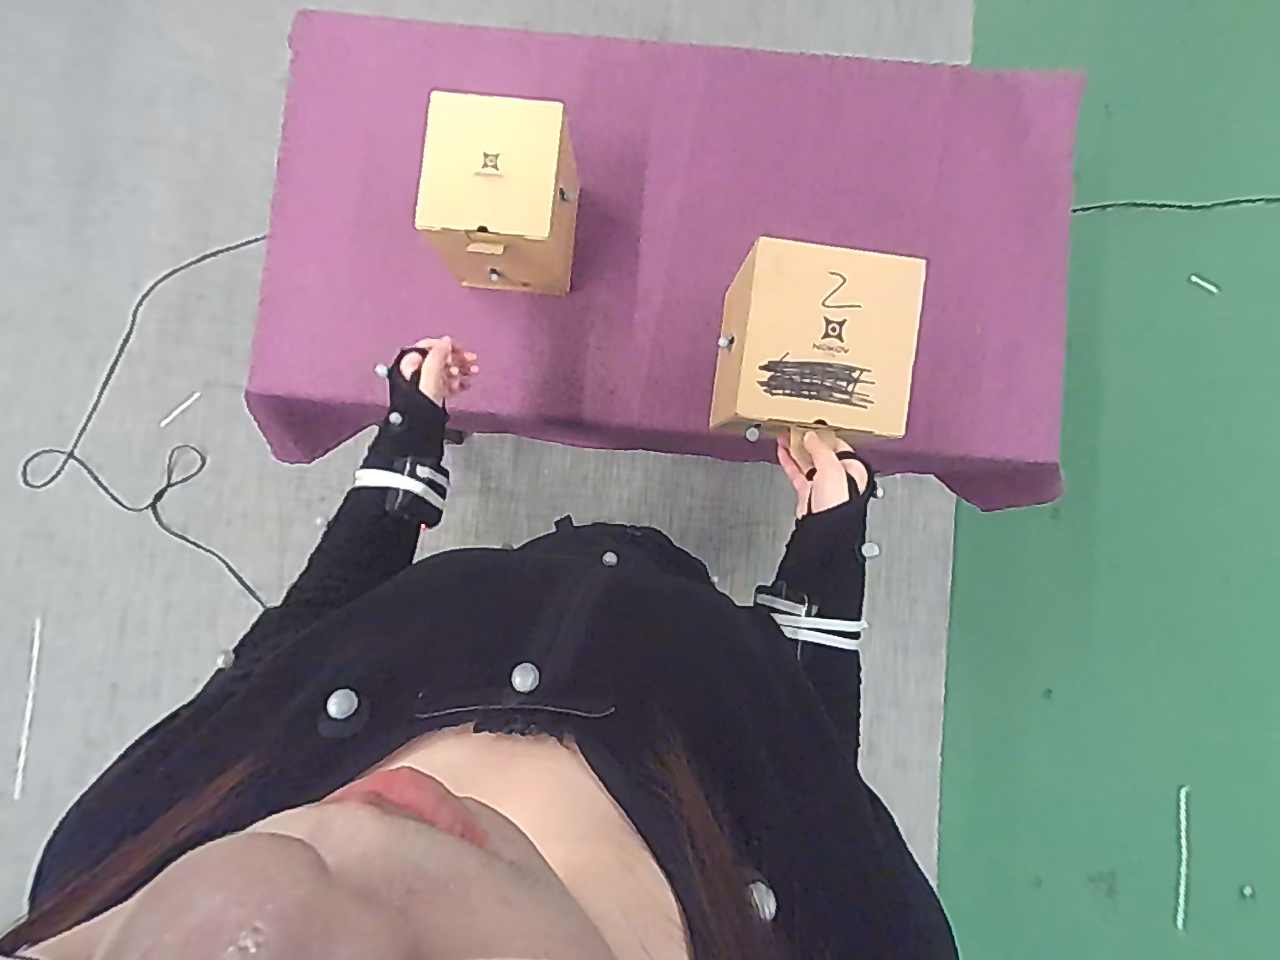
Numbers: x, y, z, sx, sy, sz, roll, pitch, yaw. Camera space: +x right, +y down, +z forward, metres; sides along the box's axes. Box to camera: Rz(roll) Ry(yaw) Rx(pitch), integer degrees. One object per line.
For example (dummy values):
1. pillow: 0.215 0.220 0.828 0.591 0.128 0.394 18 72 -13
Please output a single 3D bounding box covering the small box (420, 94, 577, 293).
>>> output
1. small box: -0.183 -0.385 0.752 0.168 0.176 0.179 6 87 0
